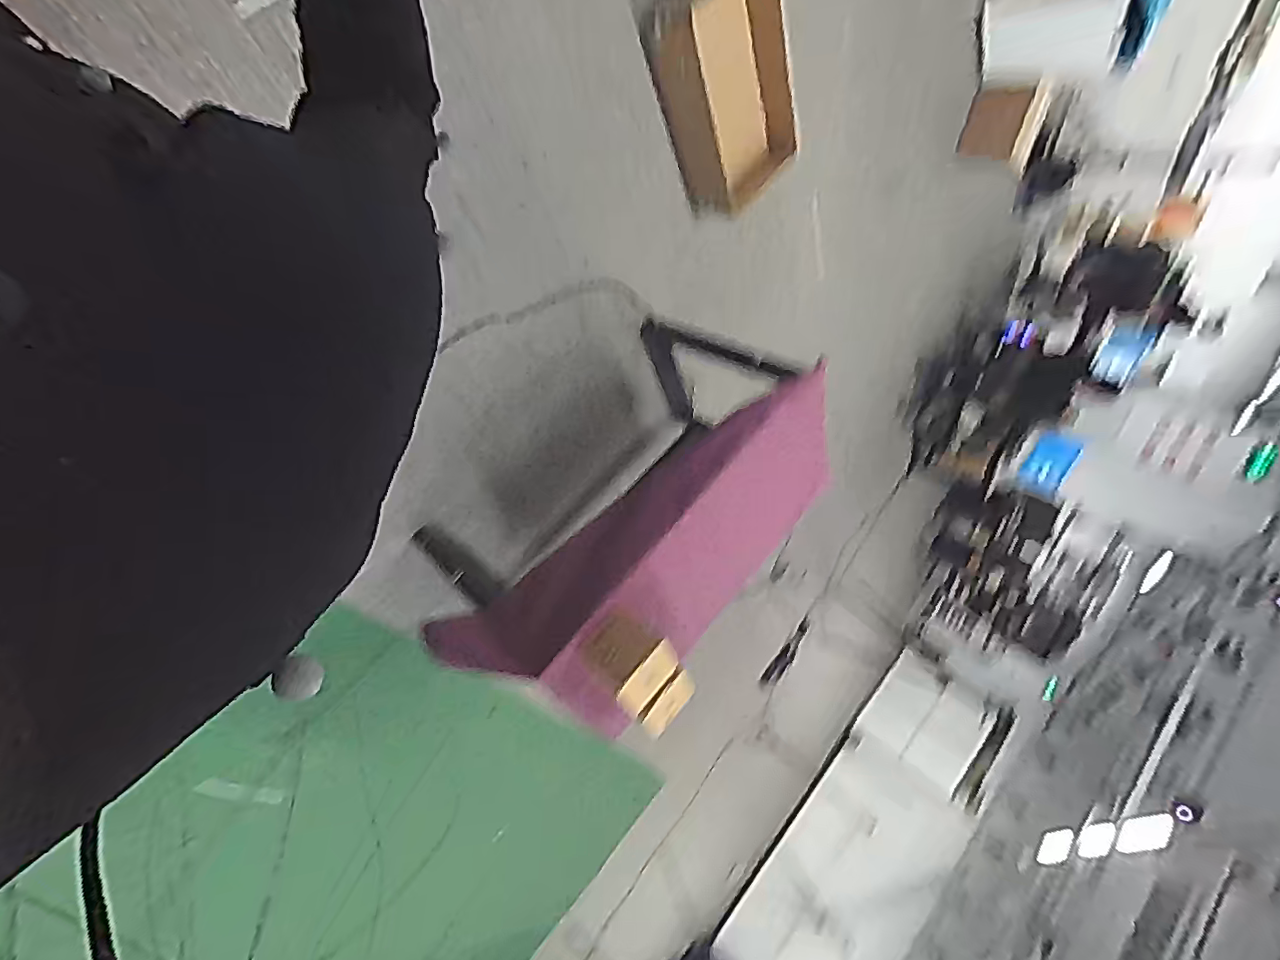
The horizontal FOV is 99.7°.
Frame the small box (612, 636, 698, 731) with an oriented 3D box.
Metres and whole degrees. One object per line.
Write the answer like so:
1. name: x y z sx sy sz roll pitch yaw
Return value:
1. small box: 0.042 0.581 1.563 0.168 0.176 0.179 -43 140 -20
